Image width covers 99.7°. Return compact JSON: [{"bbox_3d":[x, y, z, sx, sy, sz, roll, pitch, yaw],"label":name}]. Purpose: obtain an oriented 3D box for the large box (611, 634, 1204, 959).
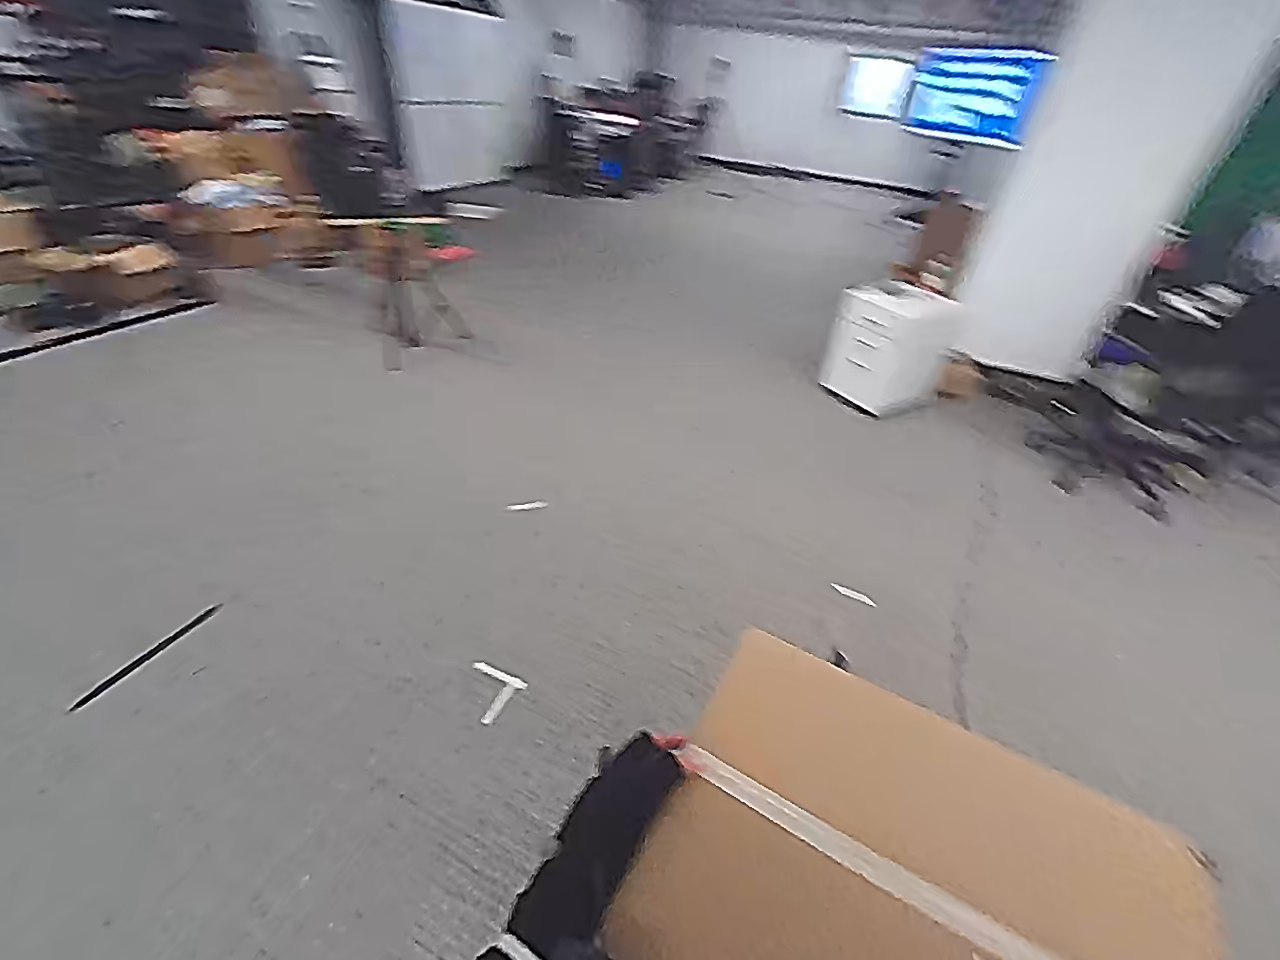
[{"bbox_3d":[0.215,0.435,0.539,0.408,0.320,0.320,23,48,21],"label":"large box"}]
